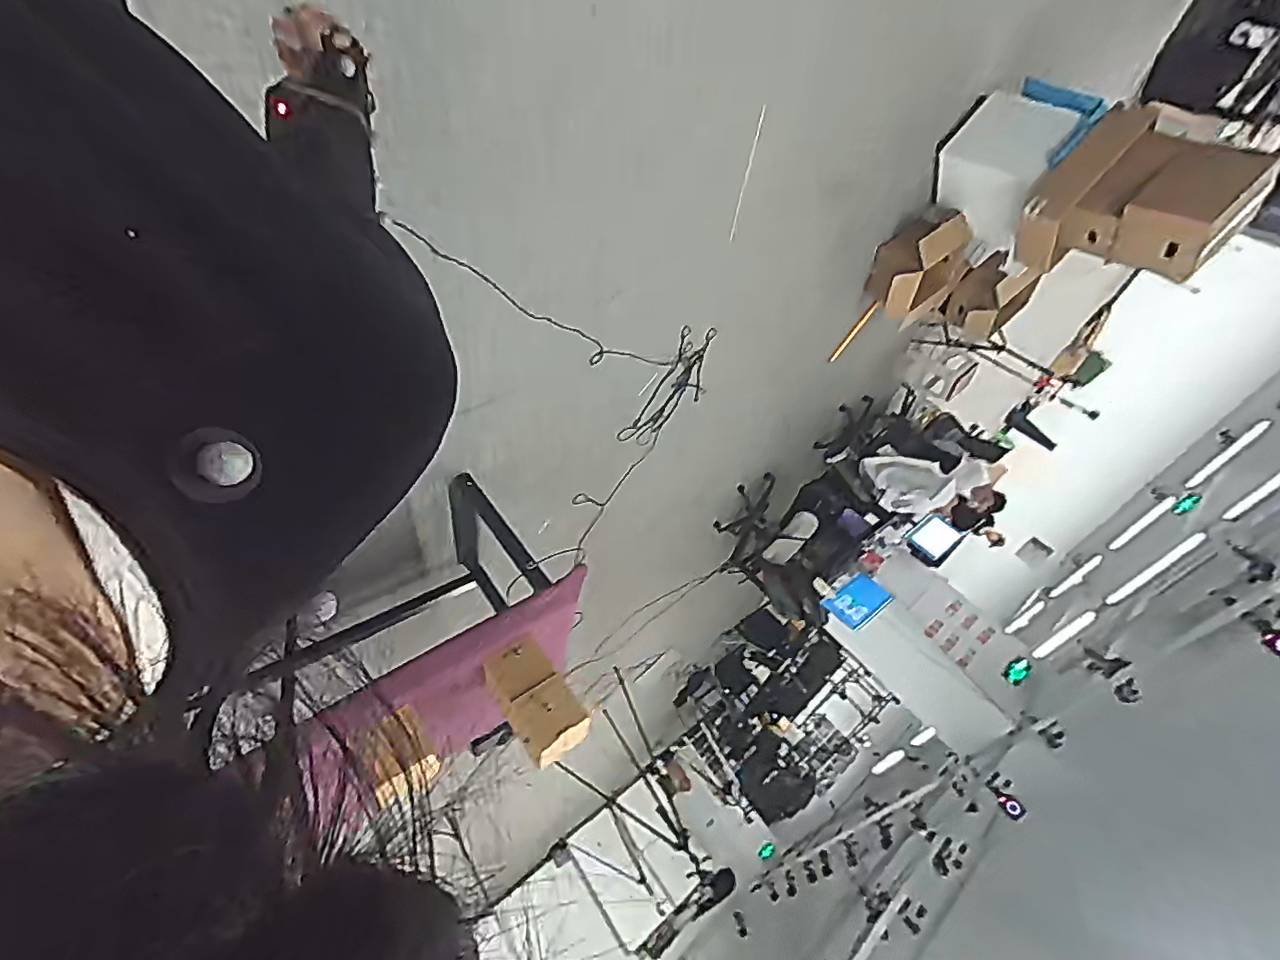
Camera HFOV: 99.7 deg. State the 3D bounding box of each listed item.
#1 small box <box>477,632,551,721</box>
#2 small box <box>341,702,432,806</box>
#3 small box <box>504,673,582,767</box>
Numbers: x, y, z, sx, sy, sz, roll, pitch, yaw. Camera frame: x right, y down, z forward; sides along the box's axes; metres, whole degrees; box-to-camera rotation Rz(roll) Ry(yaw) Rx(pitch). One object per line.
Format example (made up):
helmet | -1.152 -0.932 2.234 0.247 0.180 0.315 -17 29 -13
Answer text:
small box | -0.397 0.612 1.696 0.168 0.176 0.179 -25 146 -32
small box | -0.694 0.743 1.481 0.168 0.176 0.179 -26 148 -32
small box | -0.294 0.707 1.611 0.168 0.176 0.179 -24 145 -33
